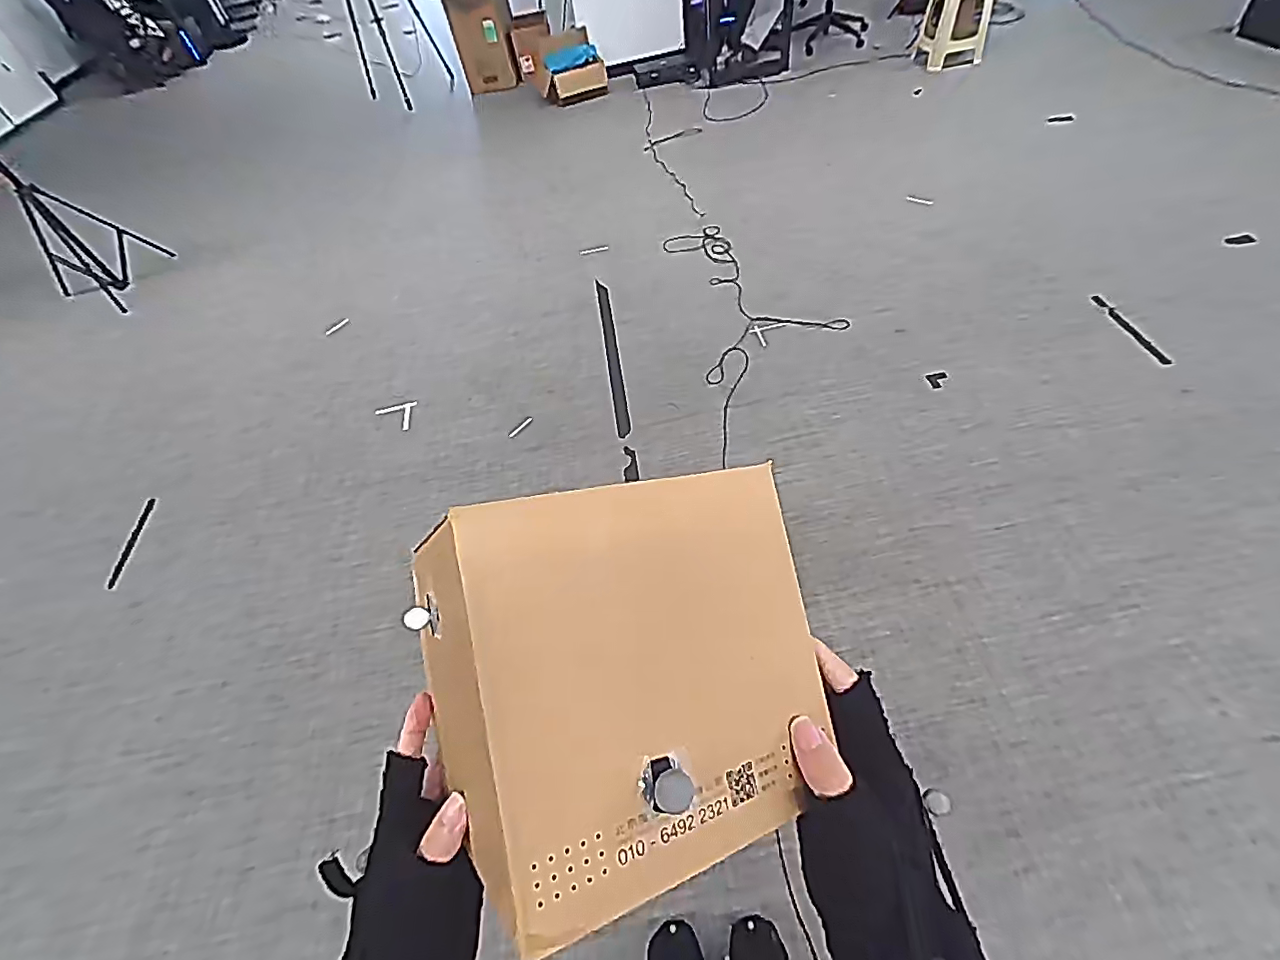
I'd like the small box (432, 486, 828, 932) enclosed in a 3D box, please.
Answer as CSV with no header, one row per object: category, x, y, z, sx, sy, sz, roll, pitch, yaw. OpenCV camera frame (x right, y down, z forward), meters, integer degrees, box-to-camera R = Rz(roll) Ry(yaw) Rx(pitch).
small box,-0.021,0.110,0.324,0.168,0.179,0.176,-8,82,-28
